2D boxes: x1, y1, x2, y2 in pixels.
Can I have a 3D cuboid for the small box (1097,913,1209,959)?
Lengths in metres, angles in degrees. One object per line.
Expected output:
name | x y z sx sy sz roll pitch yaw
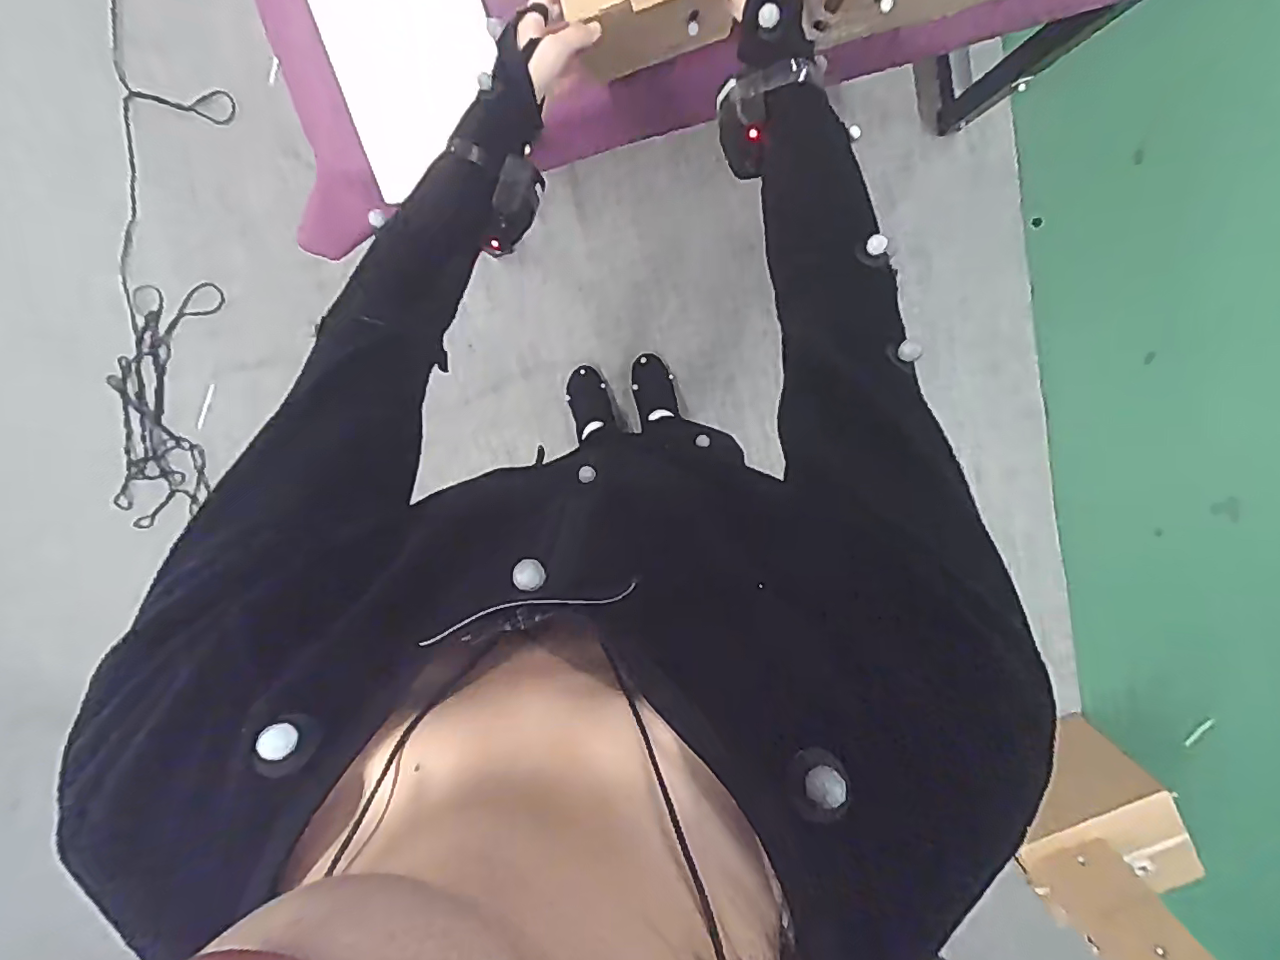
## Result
small box | 1.146 1.100 1.170 0.179 0.176 0.168 -29 100 6

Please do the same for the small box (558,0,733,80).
small box | -0.004 -0.525 0.525 0.168 0.176 0.179 -14 109 8

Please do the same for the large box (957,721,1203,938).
large box | 1.238 0.988 1.563 0.408 0.320 0.320 -29 101 6

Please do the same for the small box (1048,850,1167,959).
small box | 1.151 1.066 1.331 0.179 0.176 0.168 -24 101 7
